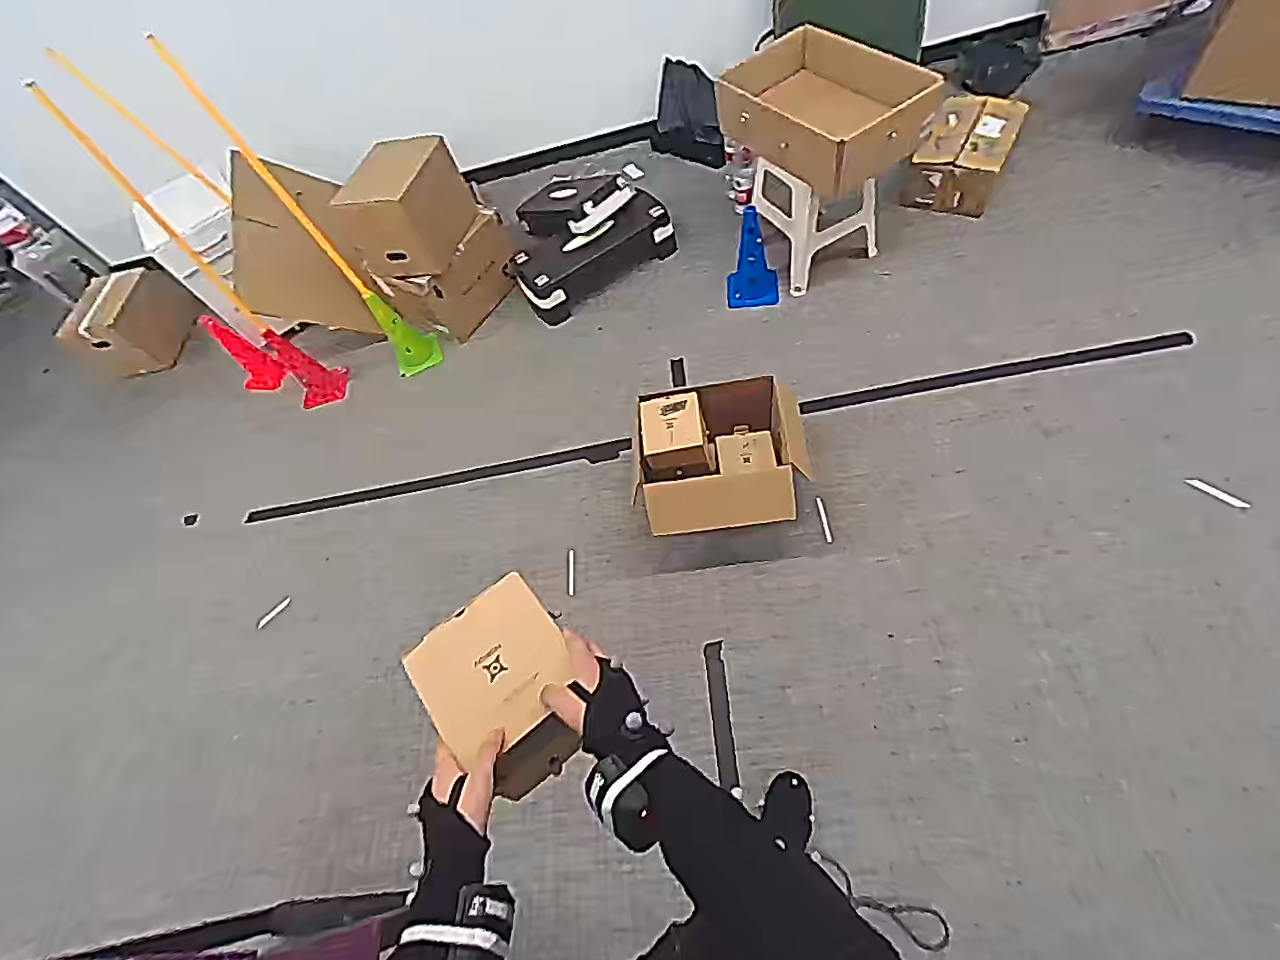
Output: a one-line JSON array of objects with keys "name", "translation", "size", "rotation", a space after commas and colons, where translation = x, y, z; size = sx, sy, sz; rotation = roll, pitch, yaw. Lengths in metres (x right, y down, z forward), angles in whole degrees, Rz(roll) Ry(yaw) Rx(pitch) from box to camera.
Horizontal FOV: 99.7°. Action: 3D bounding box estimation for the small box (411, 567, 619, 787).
[{"name": "small box", "translation": [-0.148, 0.249, 0.678], "size": [0.168, 0.176, 0.179], "rotation": [-35, 56, -16]}]
